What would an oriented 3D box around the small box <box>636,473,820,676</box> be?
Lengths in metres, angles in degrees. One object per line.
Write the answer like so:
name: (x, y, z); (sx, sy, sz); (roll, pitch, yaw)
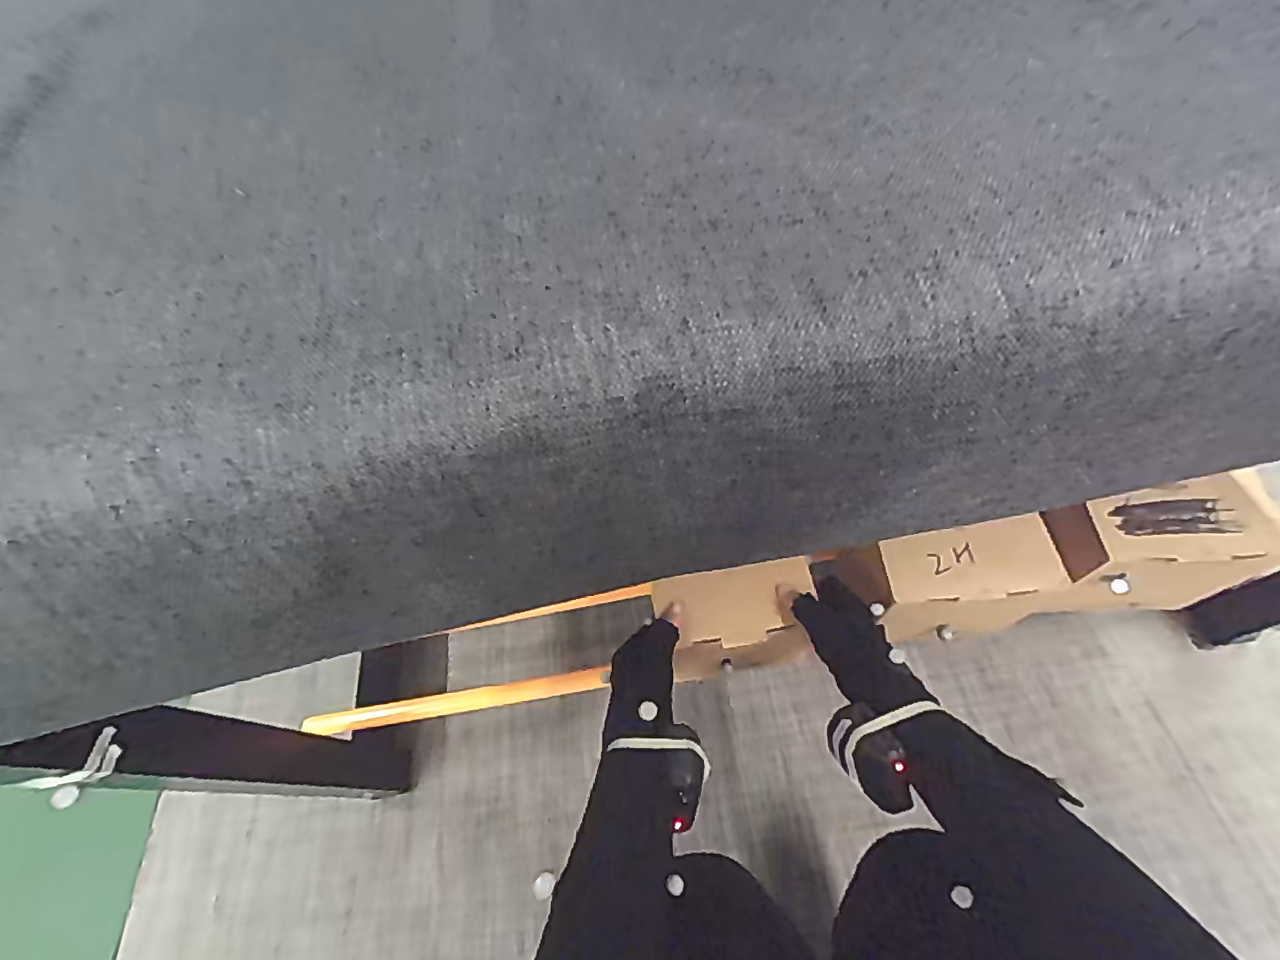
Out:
small box: (0.092, 0.117, 0.638); (0.168, 0.176, 0.179); (-10, 60, 1)
